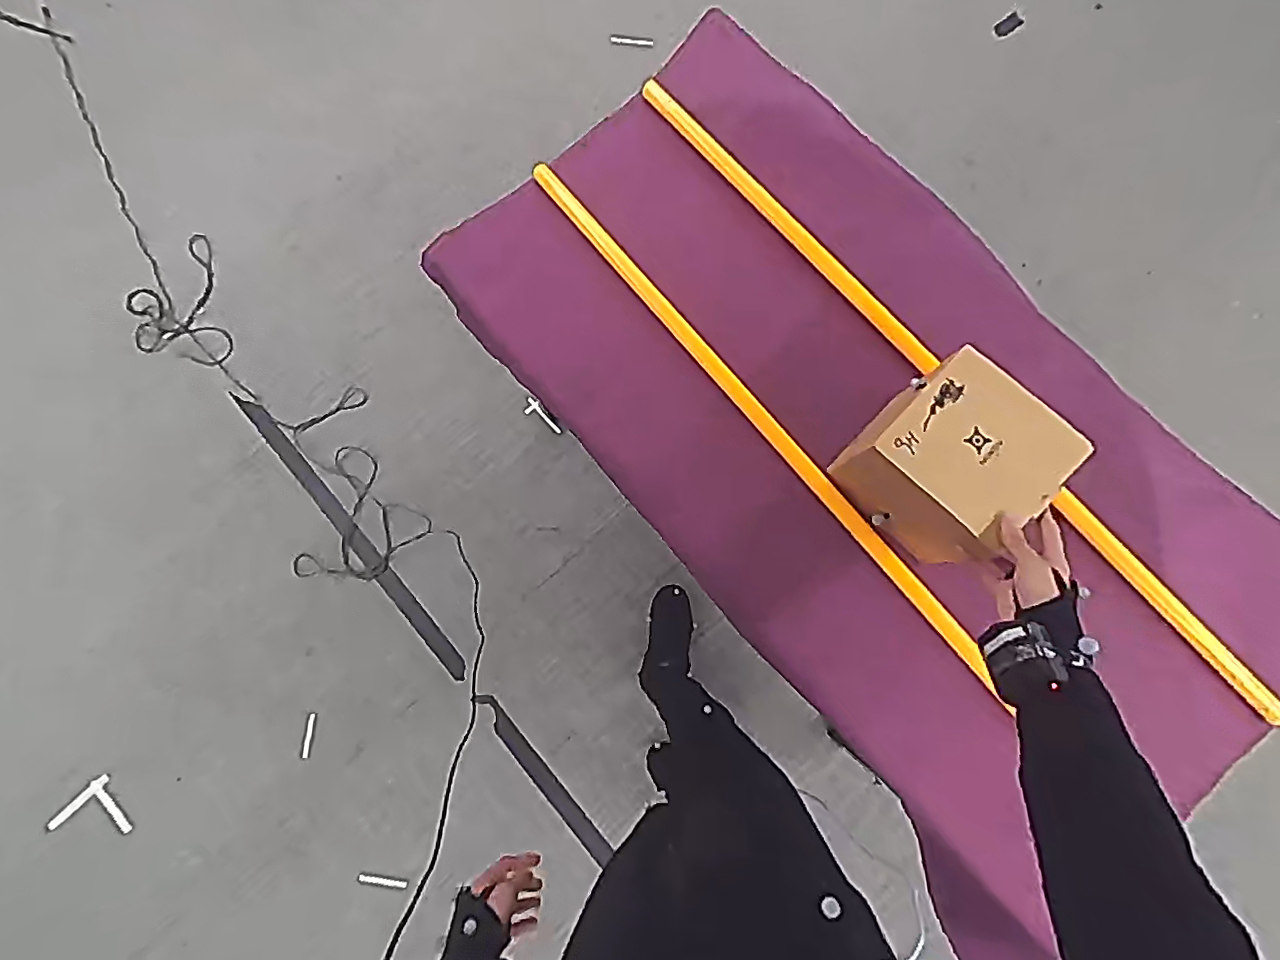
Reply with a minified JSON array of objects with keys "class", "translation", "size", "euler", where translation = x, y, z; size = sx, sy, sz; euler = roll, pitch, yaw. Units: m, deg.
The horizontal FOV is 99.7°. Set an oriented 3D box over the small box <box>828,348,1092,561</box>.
[{"class":"small box","translation":[0.366,-0.021,0.655],"size":[0.179,0.176,0.168],"euler":[44,84,7]}]
